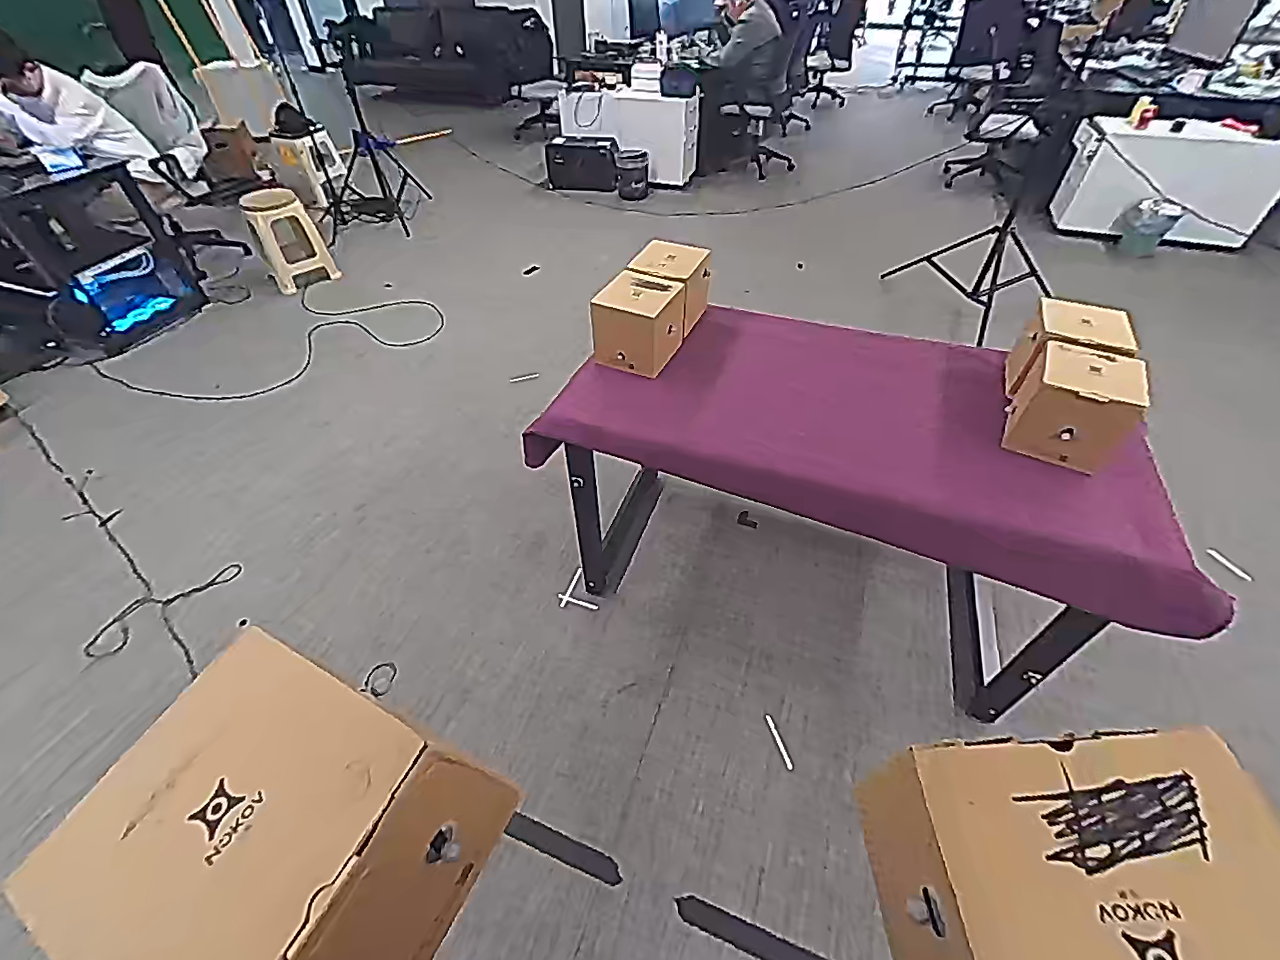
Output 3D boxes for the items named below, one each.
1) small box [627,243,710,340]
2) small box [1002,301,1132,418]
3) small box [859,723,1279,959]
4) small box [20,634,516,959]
[{"bbox_3d":[0.074,-0.500,1.433,0.168,0.176,0.179,18,50,17],"label":"small box"},{"bbox_3d":[0.932,-0.268,1.200,0.168,0.176,0.179,18,48,17],"label":"small box"},{"bbox_3d":[0.247,0.260,0.320,0.168,0.176,0.179,-6,54,4],"label":"small box"},{"bbox_3d":[-0.212,0.237,0.361,0.179,0.176,0.168,16,56,23],"label":"small box"}]
